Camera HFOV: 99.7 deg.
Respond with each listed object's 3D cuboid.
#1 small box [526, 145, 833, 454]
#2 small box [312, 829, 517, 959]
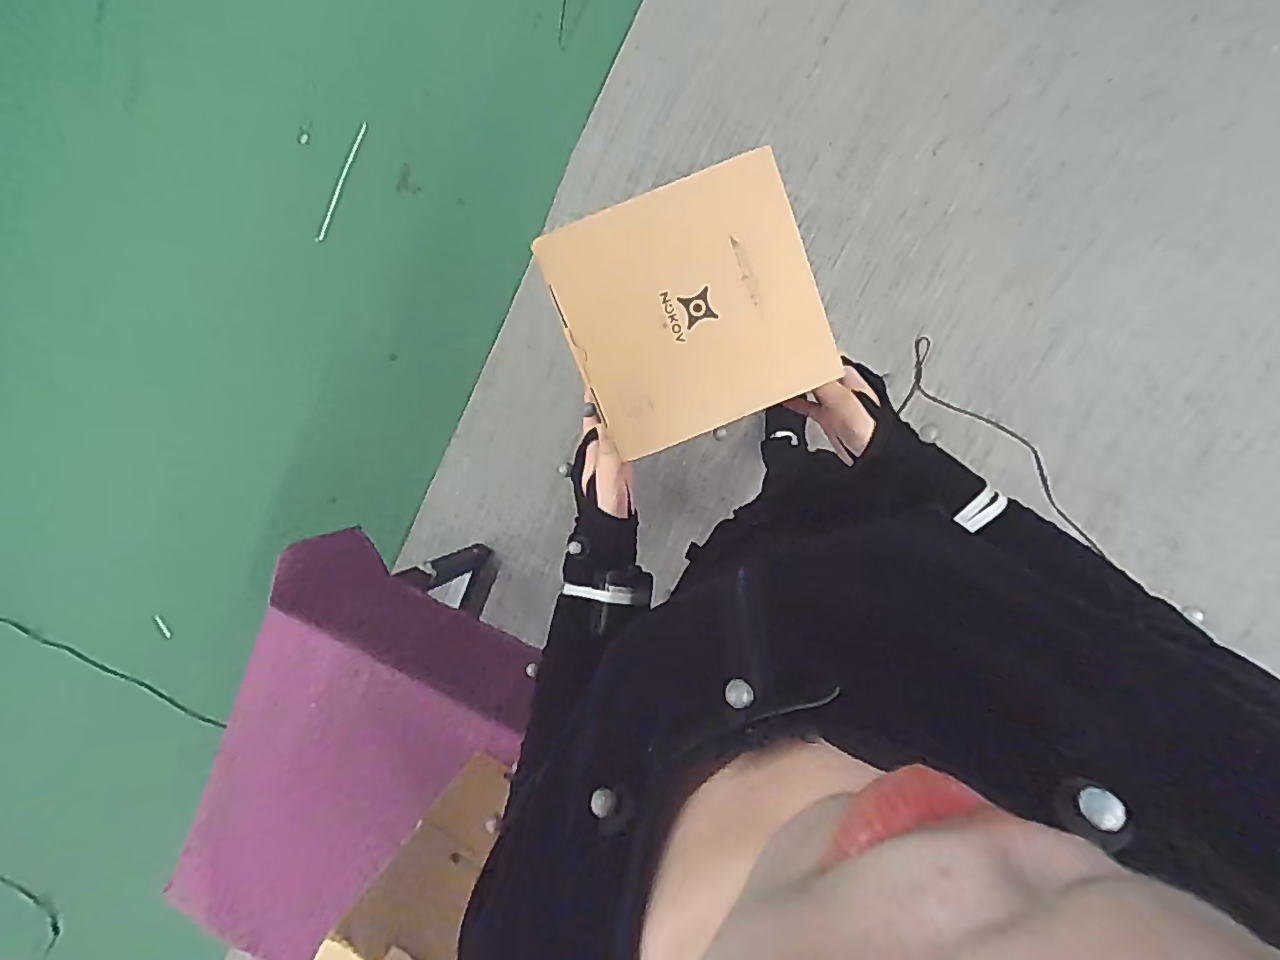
[{"bbox_3d":[0.027,-0.131,0.454,0.179,0.176,0.168,-21,99,0],"label":"small box"},{"bbox_3d":[-0.261,0.547,0.605,0.168,0.176,0.179,29,99,8],"label":"small box"}]
